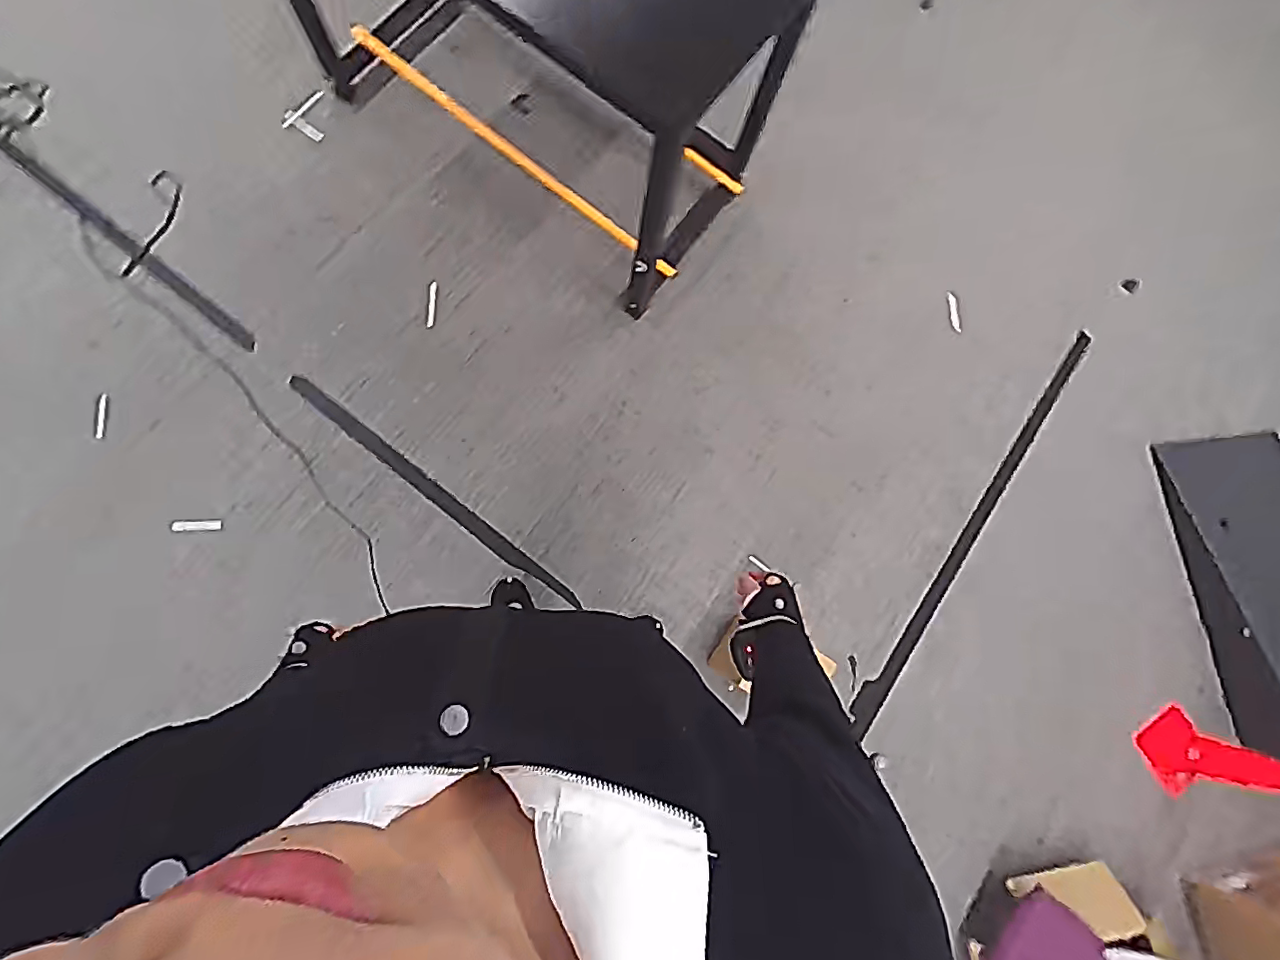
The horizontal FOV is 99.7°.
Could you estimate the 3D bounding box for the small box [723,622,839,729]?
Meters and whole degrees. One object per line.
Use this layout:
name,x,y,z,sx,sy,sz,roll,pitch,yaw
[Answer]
small box,0.325,0.448,1.276,0.179,0.176,0.168,34,76,2

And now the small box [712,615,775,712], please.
small box,0.312,0.476,1.435,0.168,0.176,0.179,36,79,2
